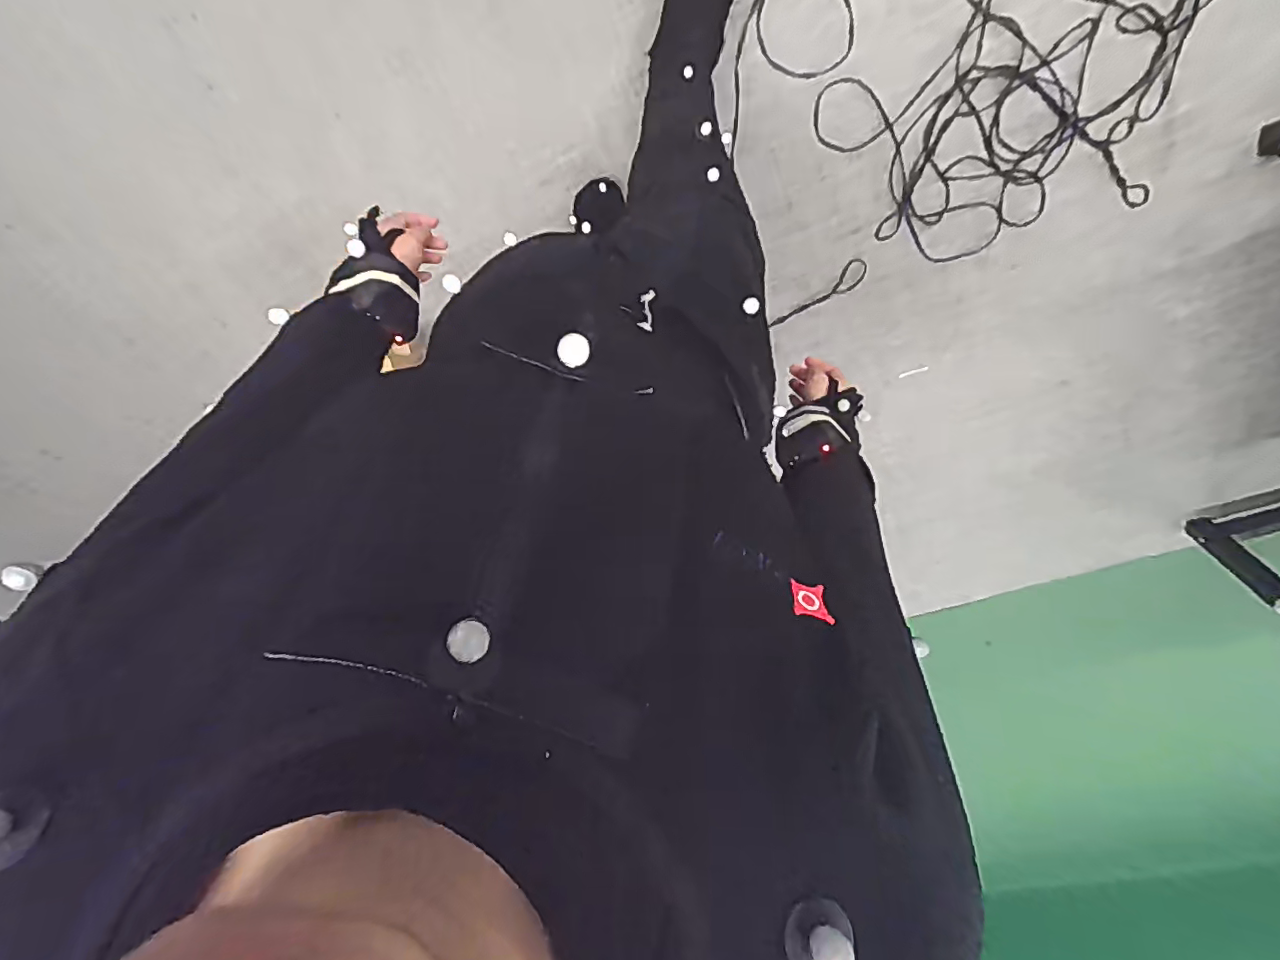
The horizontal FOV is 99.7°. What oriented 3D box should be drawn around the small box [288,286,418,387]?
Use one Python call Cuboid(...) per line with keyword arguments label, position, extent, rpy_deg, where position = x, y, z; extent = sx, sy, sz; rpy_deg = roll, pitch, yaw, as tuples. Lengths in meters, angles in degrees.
Cuboid(label="small box", position=(-0.630, -0.324, 1.212), extent=(0.179, 0.176, 0.168), rpy_deg=(-4, 127, 3))
